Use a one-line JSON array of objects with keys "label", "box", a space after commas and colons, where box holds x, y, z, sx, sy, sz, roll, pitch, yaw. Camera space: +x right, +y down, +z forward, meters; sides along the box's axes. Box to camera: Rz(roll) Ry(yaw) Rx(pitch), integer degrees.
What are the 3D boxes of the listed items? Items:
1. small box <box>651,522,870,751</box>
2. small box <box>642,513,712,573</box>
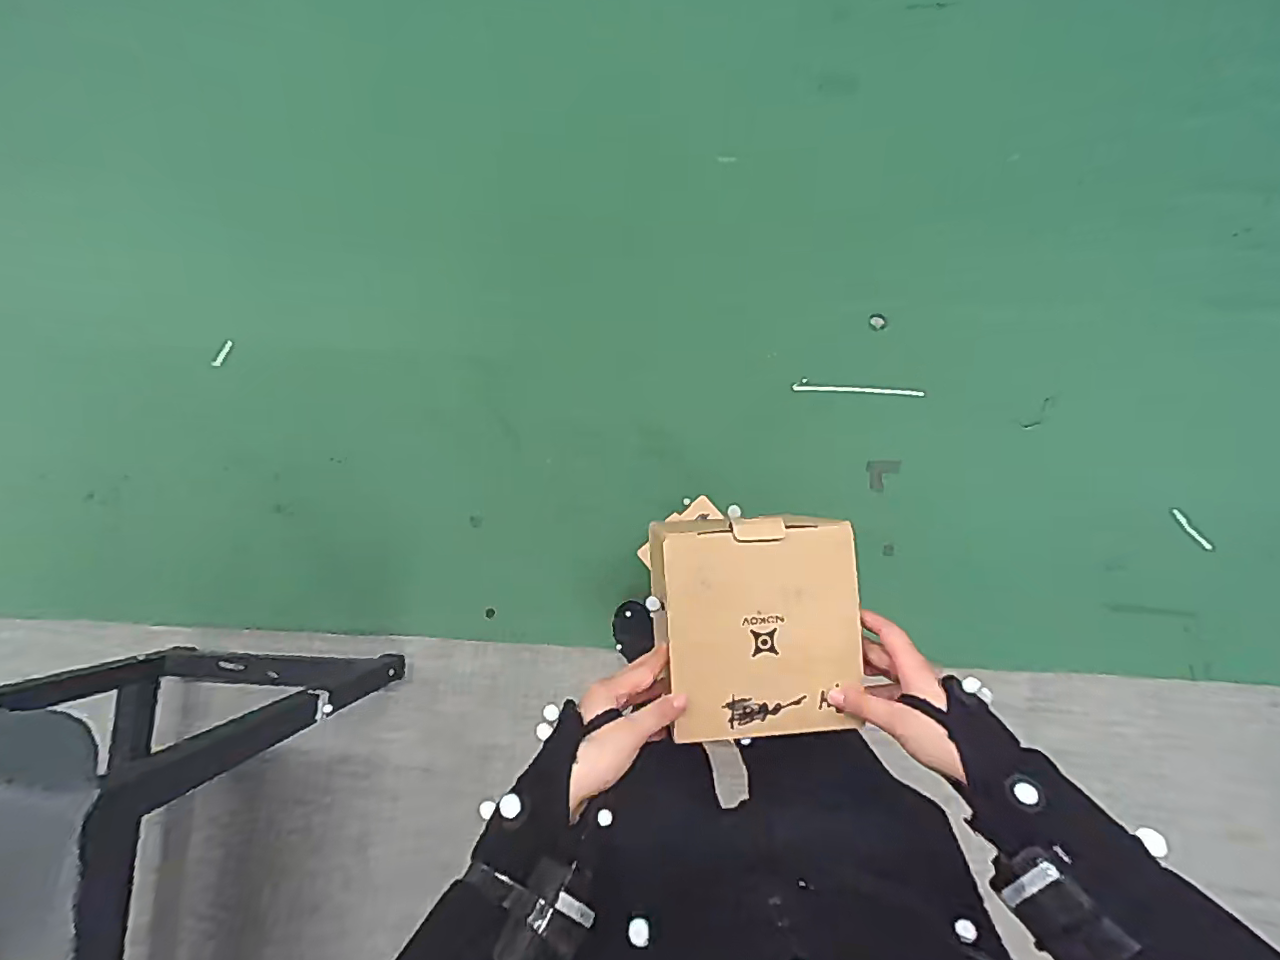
[{"label": "small box", "box": [0.102, 0.133, 0.527, 0.168, 0.176, 0.179, -3, 90, -4]}, {"label": "small box", "box": [0.125, 0.190, 1.206, 0.168, 0.176, 0.179, -41, 83, -2]}]
